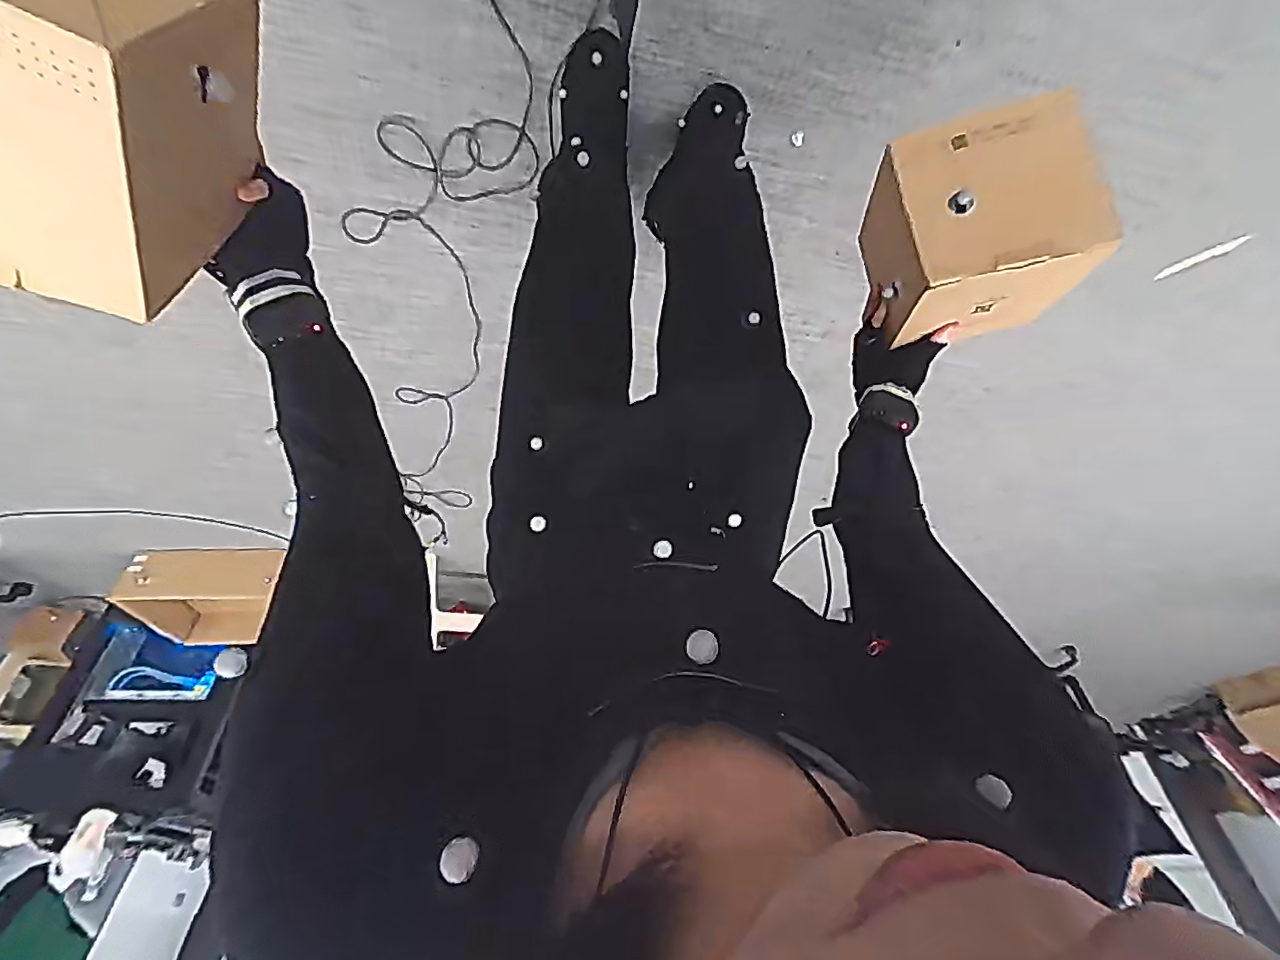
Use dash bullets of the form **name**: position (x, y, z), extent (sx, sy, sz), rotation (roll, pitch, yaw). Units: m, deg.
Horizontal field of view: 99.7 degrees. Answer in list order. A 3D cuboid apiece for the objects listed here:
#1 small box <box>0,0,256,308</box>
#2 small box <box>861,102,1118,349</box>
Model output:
- **small box**: position (-0.346, -0.240, 0.308), extent (0.168, 0.179, 0.176), rotation (19, 135, -24)
- **small box**: position (0.354, -0.269, 0.590), extent (0.168, 0.176, 0.179), rotation (-10, 170, 11)
